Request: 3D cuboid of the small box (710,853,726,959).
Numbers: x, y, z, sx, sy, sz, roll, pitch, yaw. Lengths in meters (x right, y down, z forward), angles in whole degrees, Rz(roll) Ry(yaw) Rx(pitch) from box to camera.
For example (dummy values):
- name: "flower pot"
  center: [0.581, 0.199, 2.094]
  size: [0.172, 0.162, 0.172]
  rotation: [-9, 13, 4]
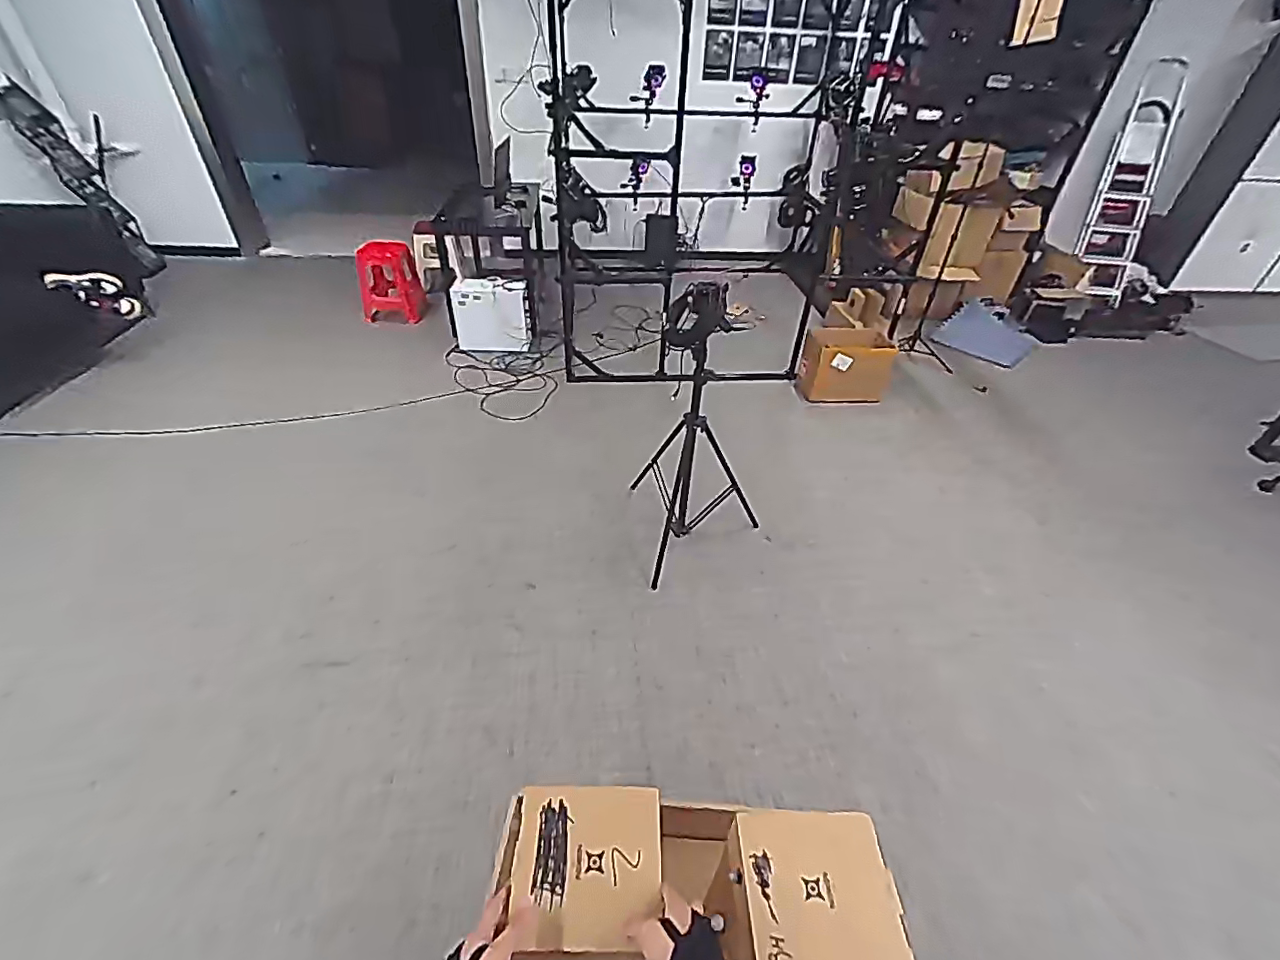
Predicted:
- name: "small box"
  center: [0.195, 0.668, 0.775]
  size: [0.168, 0.176, 0.179]
  rotation: [3, 38, 0]

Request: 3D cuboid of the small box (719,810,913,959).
- name: "small box"
  center: [0.204, 0.538, 0.675]
  size: [0.179, 0.176, 0.168]
  rotation: [2, 38, -2]

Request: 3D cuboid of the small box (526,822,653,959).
- name: "small box"
  center: [-0.068, 0.634, 0.796]
  size: [0.168, 0.176, 0.179]
  rotation: [0, 38, -1]
